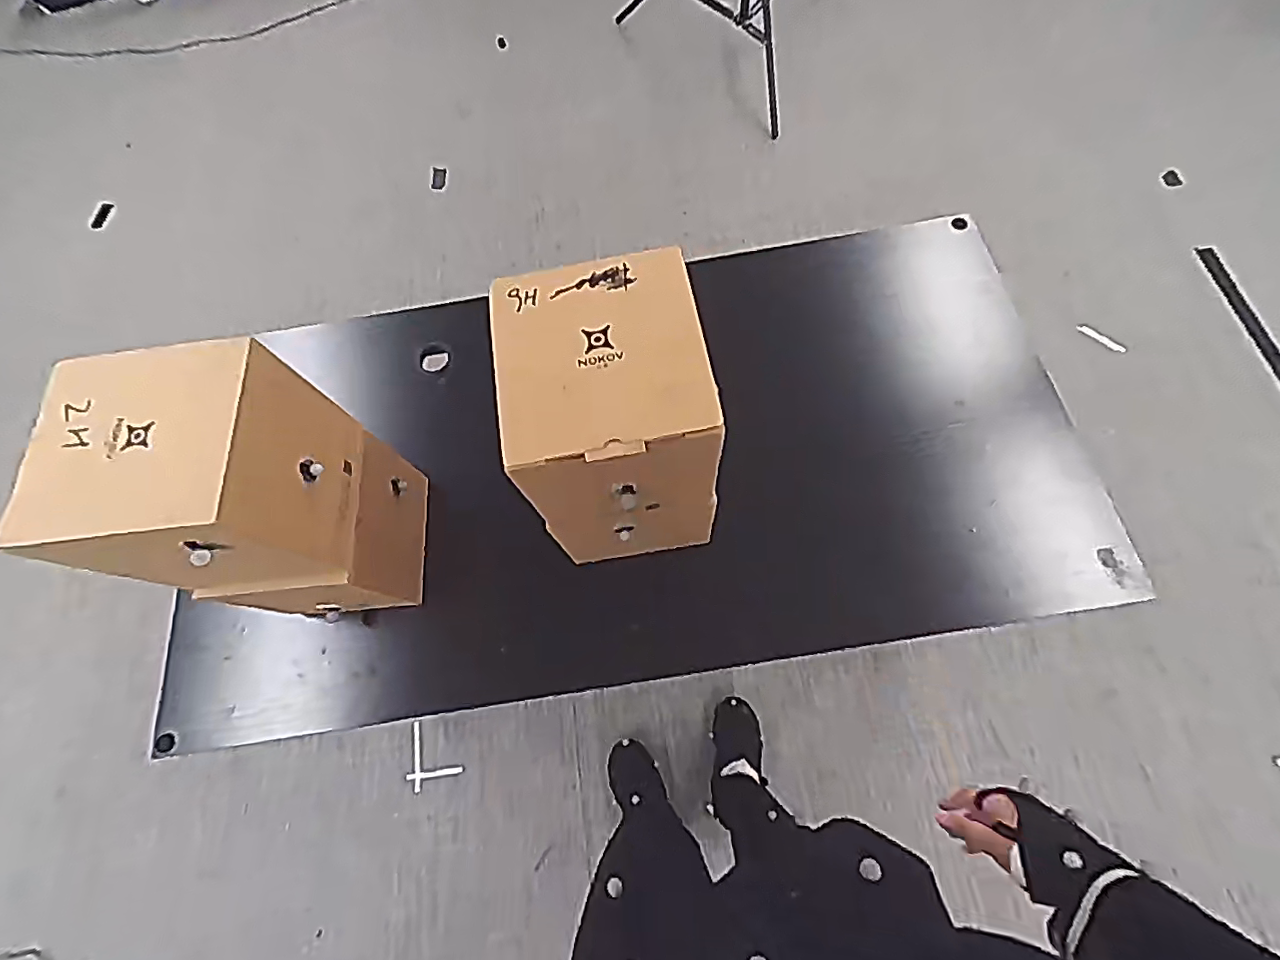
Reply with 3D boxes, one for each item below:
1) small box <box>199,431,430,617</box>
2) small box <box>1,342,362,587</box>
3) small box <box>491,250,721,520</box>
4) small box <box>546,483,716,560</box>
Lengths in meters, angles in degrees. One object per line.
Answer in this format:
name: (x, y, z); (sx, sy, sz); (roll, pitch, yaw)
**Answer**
small box: (-0.369, 0.061, 0.650); (0.168, 0.176, 0.179); (-7, 70, 3)
small box: (-0.387, -0.002, 0.498); (0.179, 0.176, 0.168); (-7, 69, 3)
small box: (-0.025, -0.070, 0.494); (0.168, 0.176, 0.179); (-10, 70, 1)
small box: (-0.013, -0.009, 0.646); (0.179, 0.176, 0.168); (-9, 69, 0)
